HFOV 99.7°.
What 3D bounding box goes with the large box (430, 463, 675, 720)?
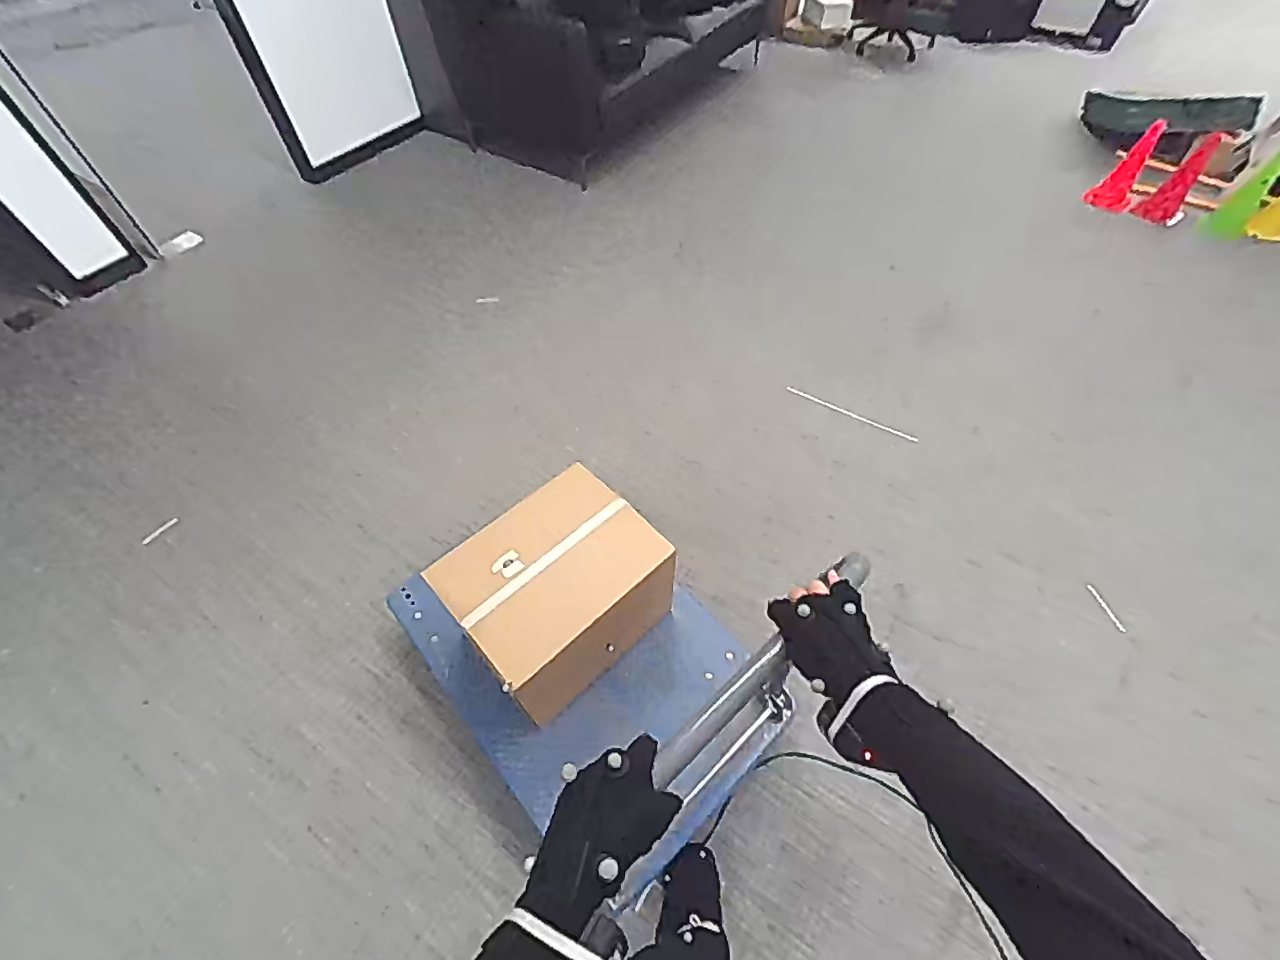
[{"bbox_3d":[-0.168,0.245,1.200,0.408,0.320,0.320,-39,63,-23],"label":"large box"}]
